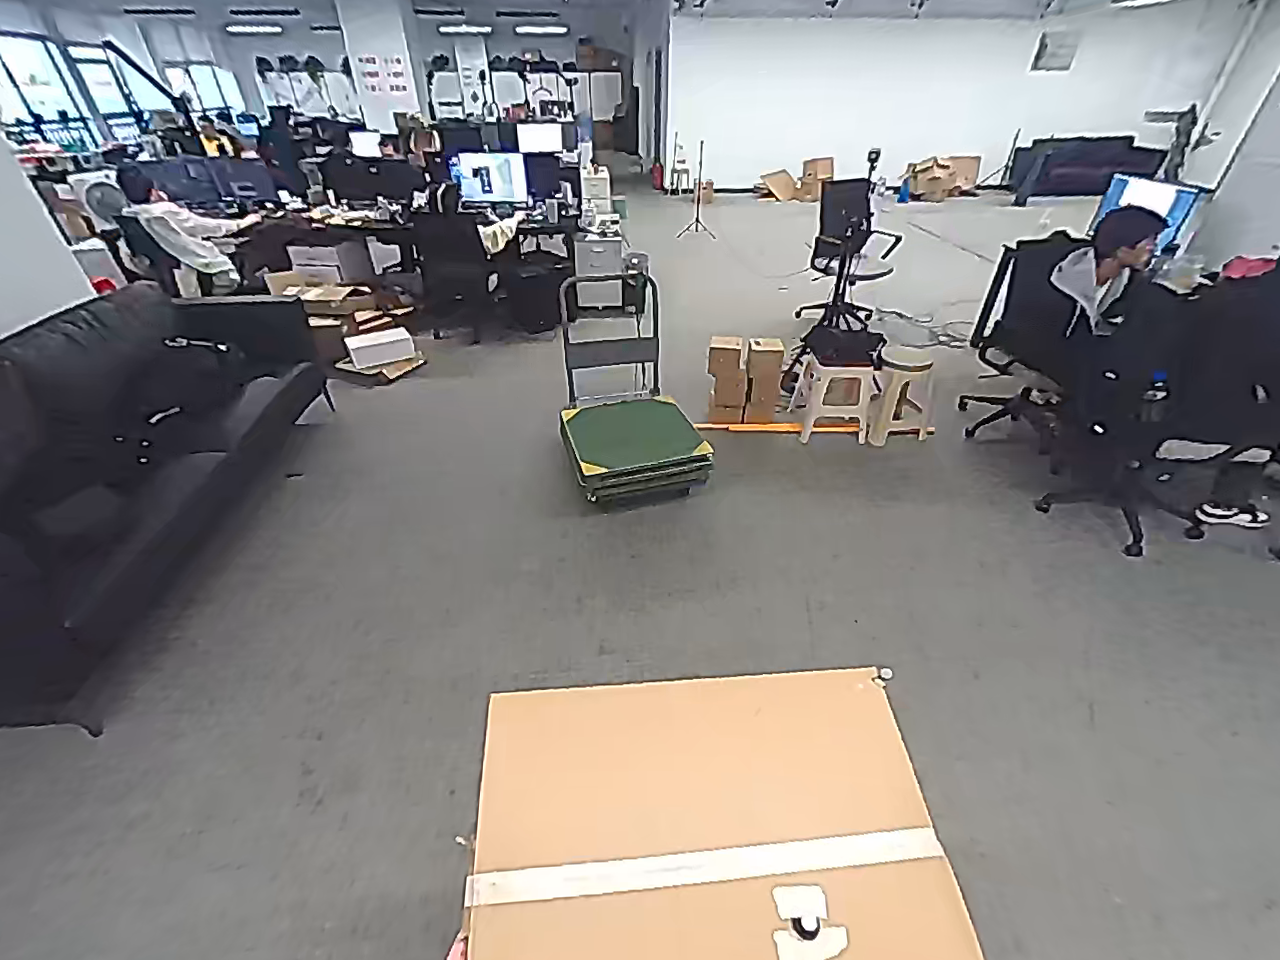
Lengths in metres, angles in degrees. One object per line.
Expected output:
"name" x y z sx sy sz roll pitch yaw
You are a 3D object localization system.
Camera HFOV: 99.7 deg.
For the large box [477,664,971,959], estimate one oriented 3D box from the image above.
"large box" 0.055 0.422 0.589 0.408 0.320 0.320 -2 52 -5
